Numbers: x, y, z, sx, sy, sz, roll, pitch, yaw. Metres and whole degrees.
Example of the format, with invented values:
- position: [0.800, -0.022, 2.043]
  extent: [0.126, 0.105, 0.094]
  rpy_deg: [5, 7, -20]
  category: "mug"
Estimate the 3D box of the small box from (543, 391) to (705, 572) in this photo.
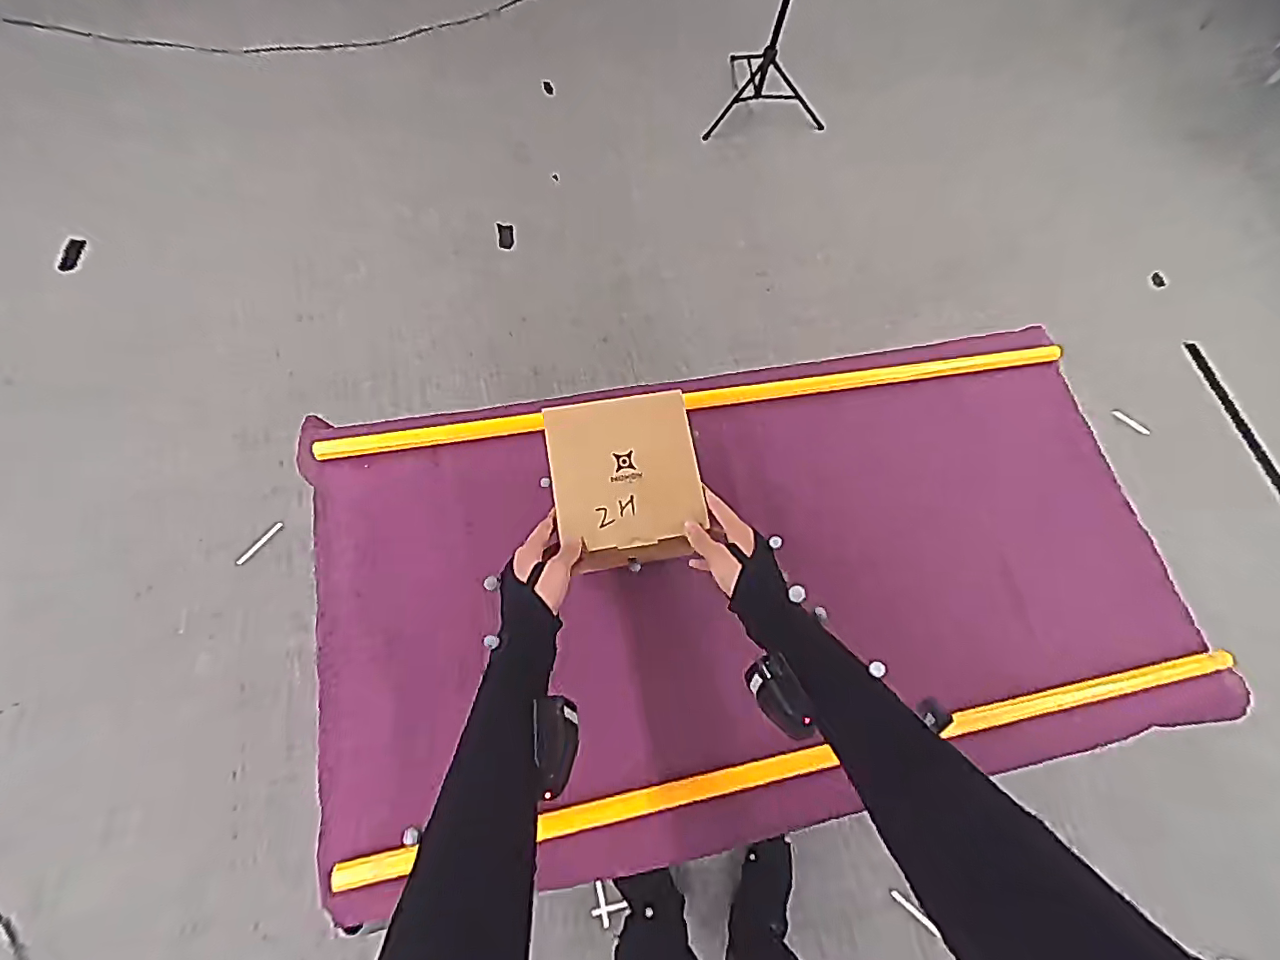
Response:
- position: [-0.025, 0.010, 0.684]
  extent: [0.168, 0.176, 0.179]
  rpy_deg: [-9, 75, -5]
  category: "small box"
